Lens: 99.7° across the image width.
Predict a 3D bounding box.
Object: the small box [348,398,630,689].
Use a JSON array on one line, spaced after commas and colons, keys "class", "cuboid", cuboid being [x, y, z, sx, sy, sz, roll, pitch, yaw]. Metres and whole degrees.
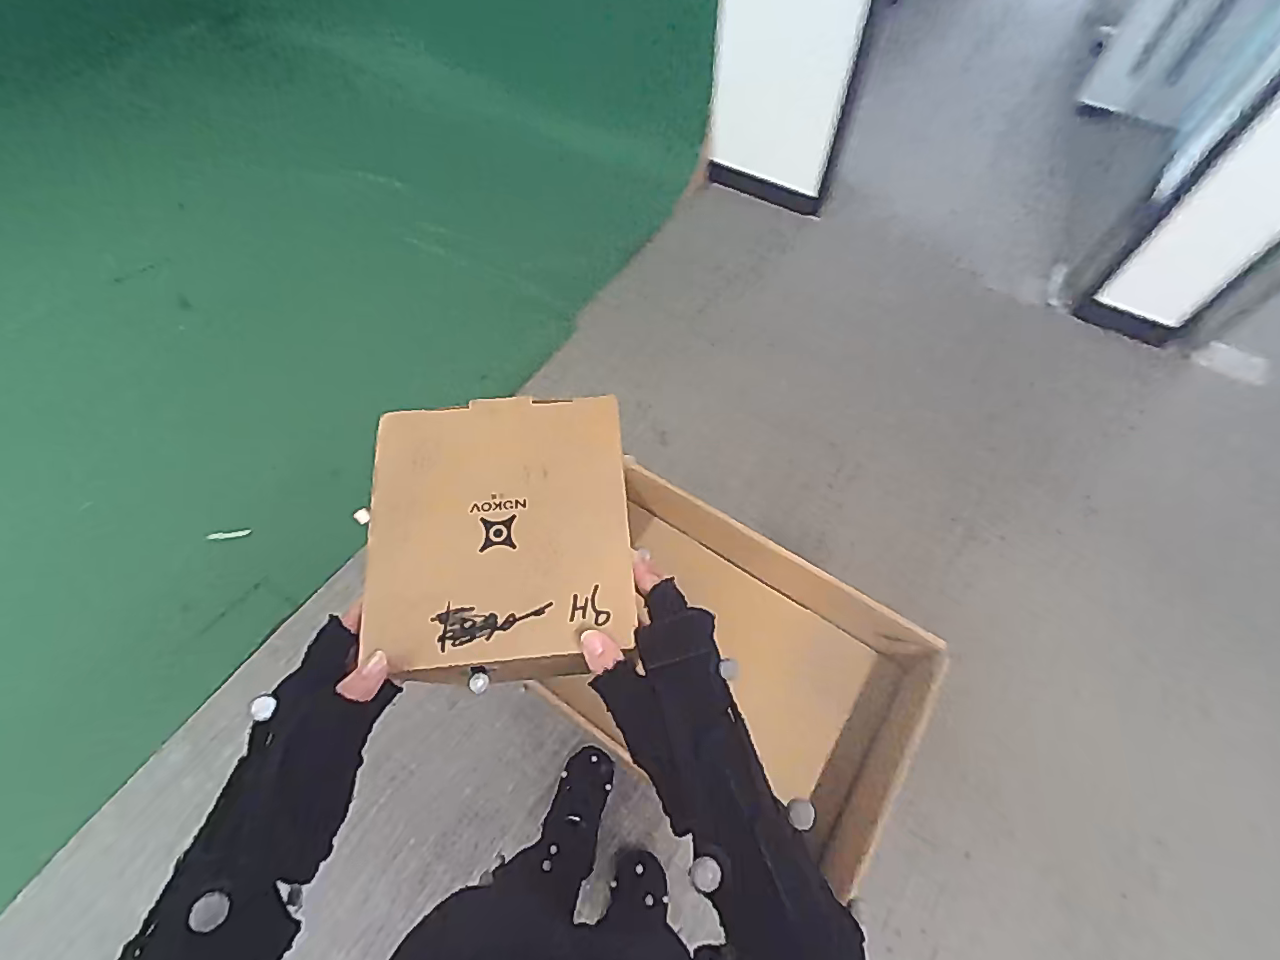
[{"class": "small box", "cuboid": [-0.098, 0.059, 0.423, 0.168, 0.176, 0.179, -6, 67, -2]}]
